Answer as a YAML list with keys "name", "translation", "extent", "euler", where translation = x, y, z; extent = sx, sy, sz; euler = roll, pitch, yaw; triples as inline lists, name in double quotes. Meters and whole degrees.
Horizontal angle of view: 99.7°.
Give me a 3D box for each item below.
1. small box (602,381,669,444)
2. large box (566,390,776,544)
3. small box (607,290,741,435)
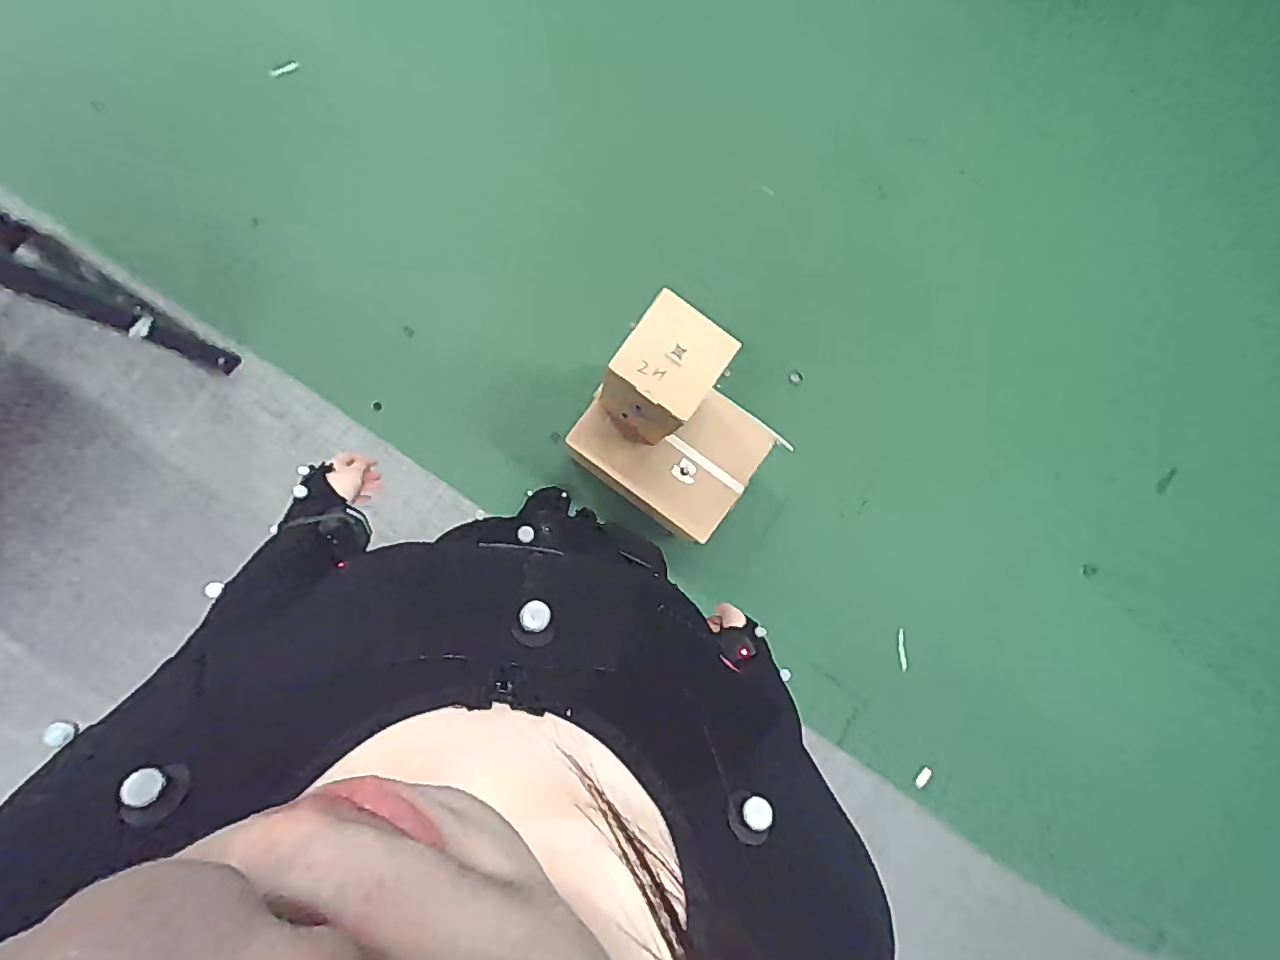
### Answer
- name: "small box"
  translation: [0.030, -0.197, 1.148]
  extent: [0.168, 0.176, 0.179]
  euler: [37, 84, -4]
- name: "large box"
  translation: [0.057, -0.080, 1.389]
  extent: [0.408, 0.320, 0.320]
  euler: [37, 84, -4]
- name: "small box"
  translation: [0.050, -0.202, 0.984]
  extent: [0.168, 0.176, 0.179]
  euler: [36, 84, -4]
